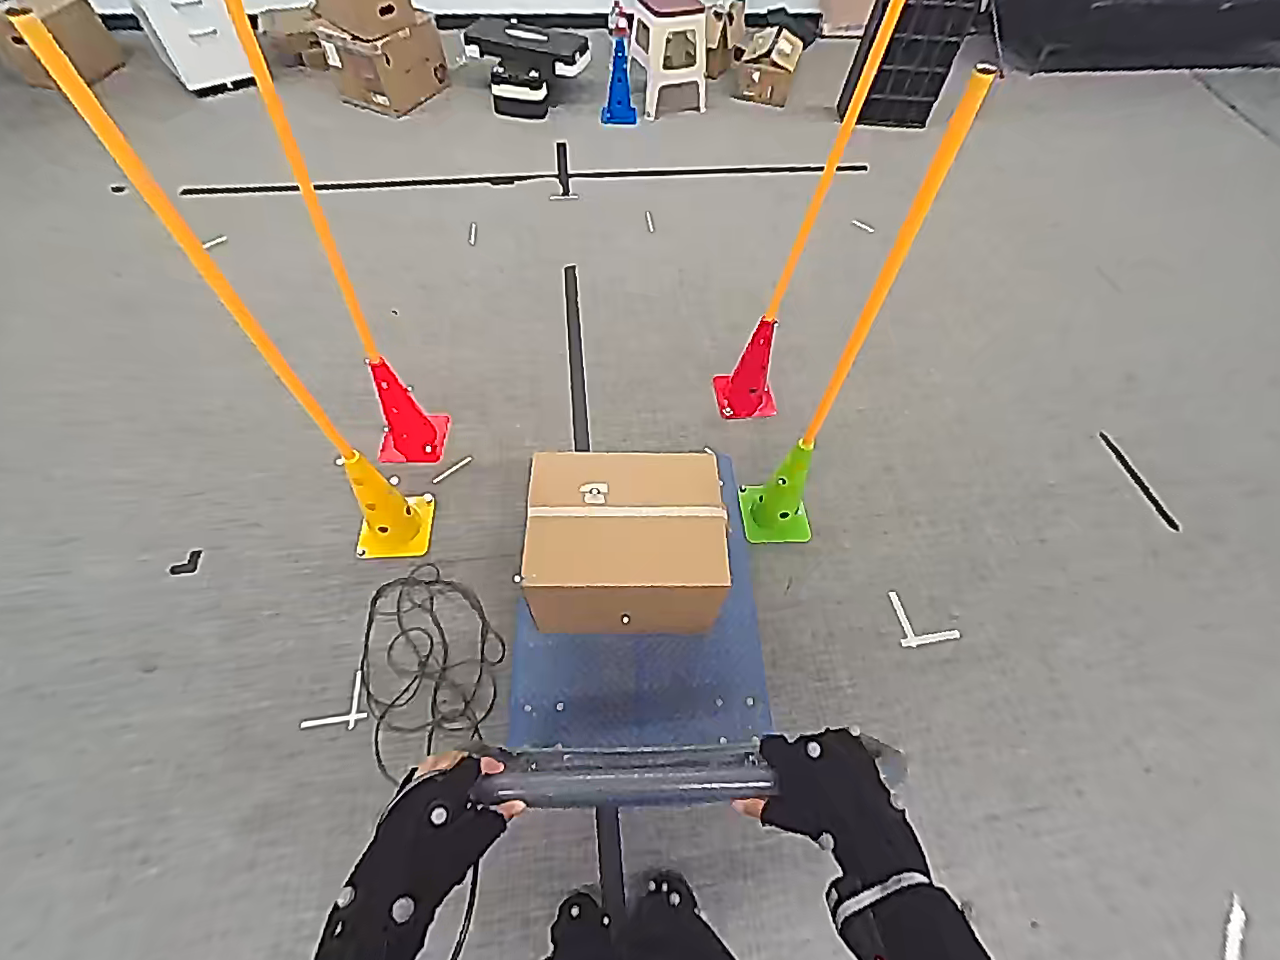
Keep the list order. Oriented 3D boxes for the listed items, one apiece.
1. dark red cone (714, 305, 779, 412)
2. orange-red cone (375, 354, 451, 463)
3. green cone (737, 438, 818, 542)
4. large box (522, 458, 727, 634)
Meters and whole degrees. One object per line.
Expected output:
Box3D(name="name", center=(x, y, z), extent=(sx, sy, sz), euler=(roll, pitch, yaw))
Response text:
Box3D(name="dark red cone", center=(0.385, -0.407, 1.786), extent=(0.201, 0.394, 0.202), euler=(-3, 57, -7))
Box3D(name="orange-red cone", center=(-0.727, -0.238, 1.640), extent=(0.198, 0.360, 0.199), euler=(3, 55, -3))
Box3D(name="green cone", center=(0.421, 0.008, 1.537), extent=(0.202, 0.368, 0.200), euler=(0, 57, -5))
Box3D(name="large box", center=(-0.034, 0.161, 1.241), extent=(0.408, 0.320, 0.320), euler=(0, 57, -2))
